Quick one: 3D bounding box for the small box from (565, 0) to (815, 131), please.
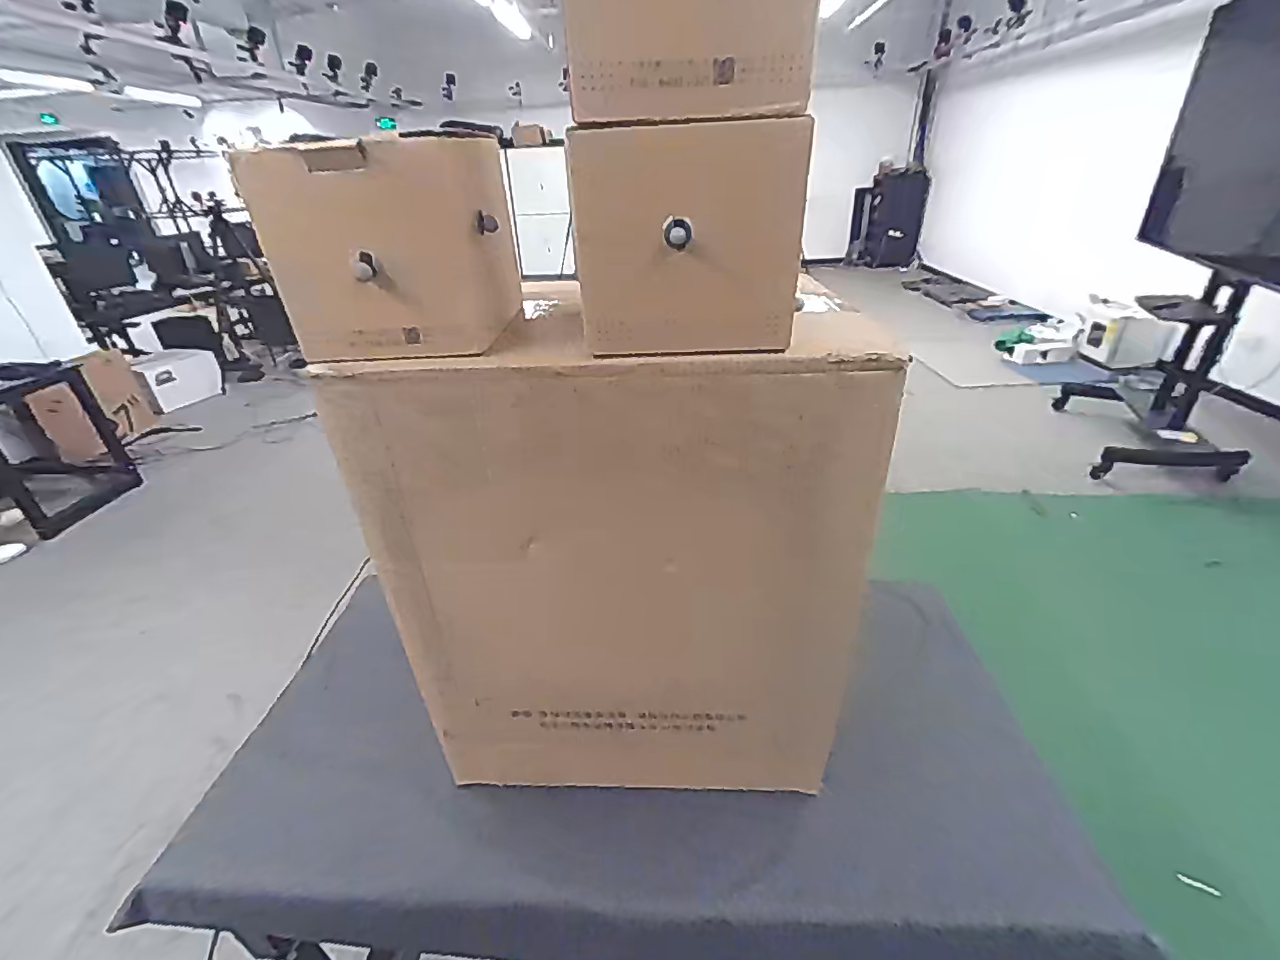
[{"bbox_3d":[0.032,-0.357,0.407,0.168,0.176,0.179,-1,30,-1],"label":"small box"}]

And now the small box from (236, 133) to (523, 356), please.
[{"bbox_3d":[-0.218,-0.224,0.516,0.168,0.176,0.179,-1,33,3],"label":"small box"}]

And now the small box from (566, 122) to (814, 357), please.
[{"bbox_3d":[0.041,-0.216,0.484,0.179,0.176,0.168,-1,32,4],"label":"small box"}]
